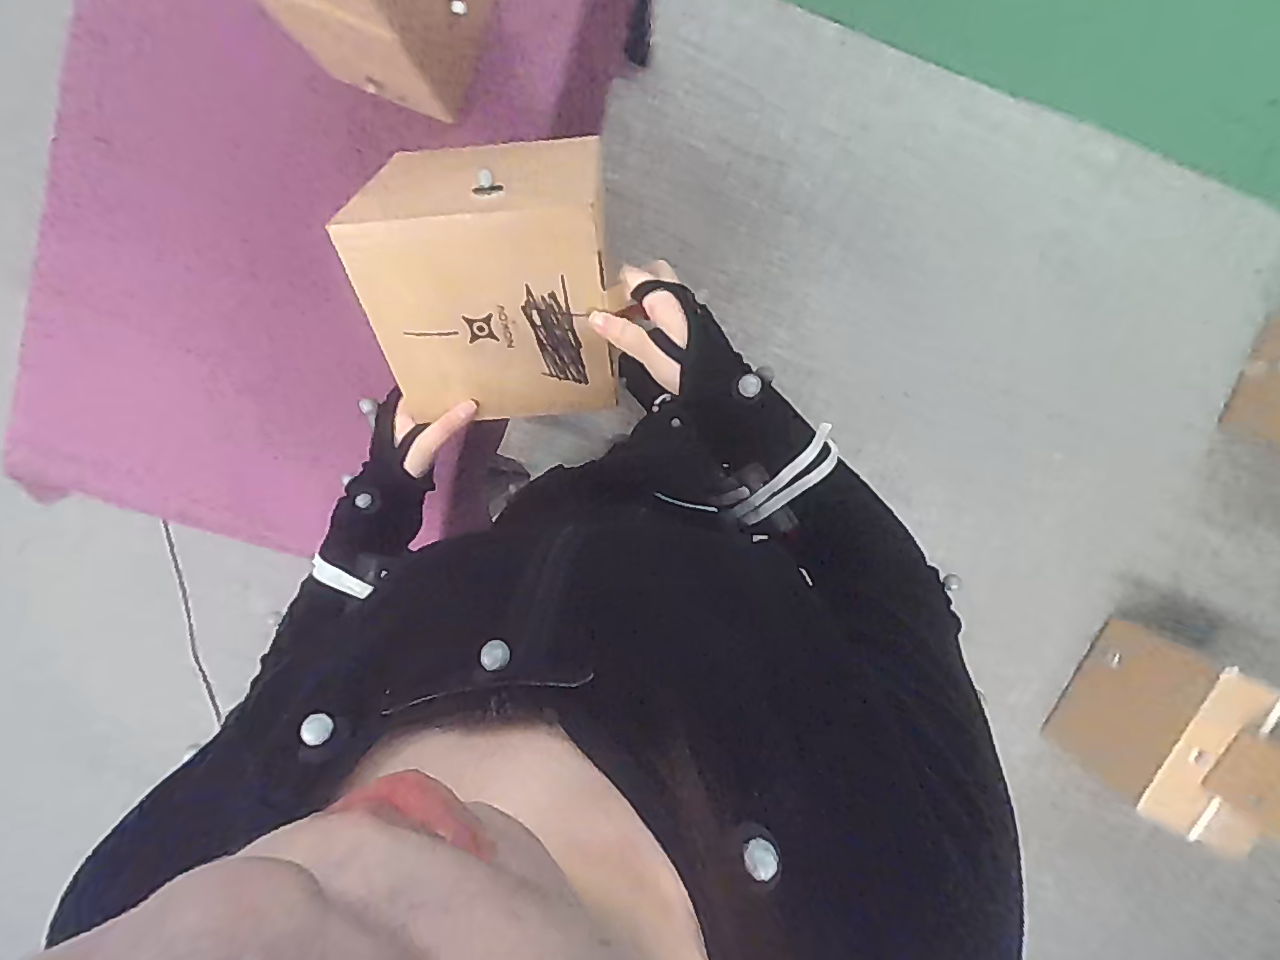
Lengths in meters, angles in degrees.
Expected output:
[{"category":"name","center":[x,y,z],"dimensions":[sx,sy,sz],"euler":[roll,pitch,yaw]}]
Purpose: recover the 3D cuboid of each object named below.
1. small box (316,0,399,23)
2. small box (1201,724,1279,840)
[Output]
[{"category":"small box","center":[-0.281,-0.524,0.429],"dimensions":[0.179,0.176,0.168],"euler":[23,97,-4]},{"category":"small box","center":[1.413,0.683,1.188],"dimensions":[0.168,0.176,0.179],"euler":[28,97,-7]}]
